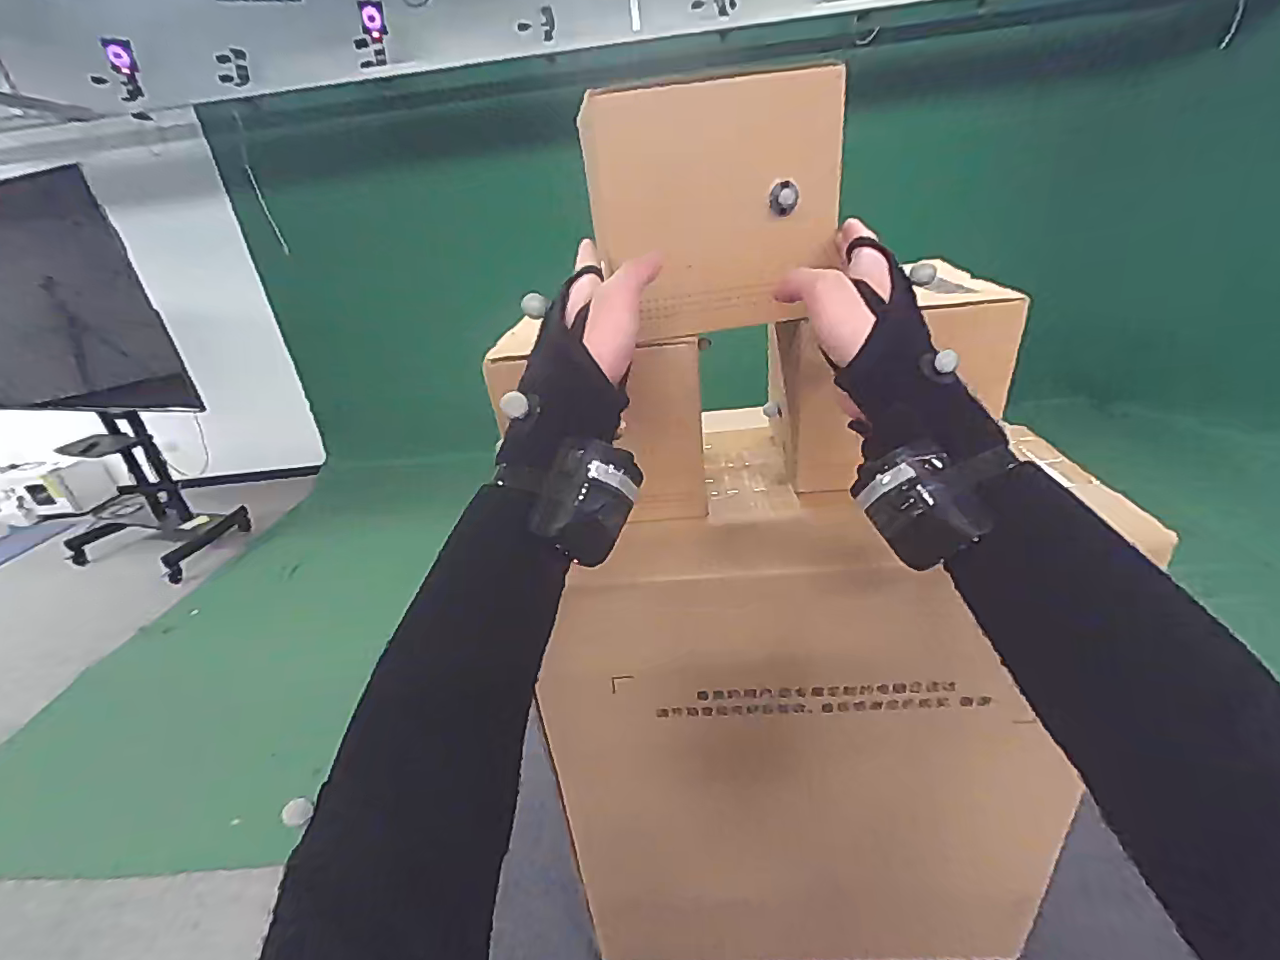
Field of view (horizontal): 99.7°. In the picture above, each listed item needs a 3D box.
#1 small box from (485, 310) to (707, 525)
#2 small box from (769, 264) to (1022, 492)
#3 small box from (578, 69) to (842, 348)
[{"bbox_3d":[-0.029,-0.067,0.539,0.179,0.176,0.168,-4,30,5],"label":"small box"},{"bbox_3d":[0.226,-0.102,0.535,0.179,0.176,0.168,-5,30,6],"label":"small box"},{"bbox_3d":[0.049,-0.222,0.460,0.179,0.176,0.168,-11,28,-3],"label":"small box"}]
